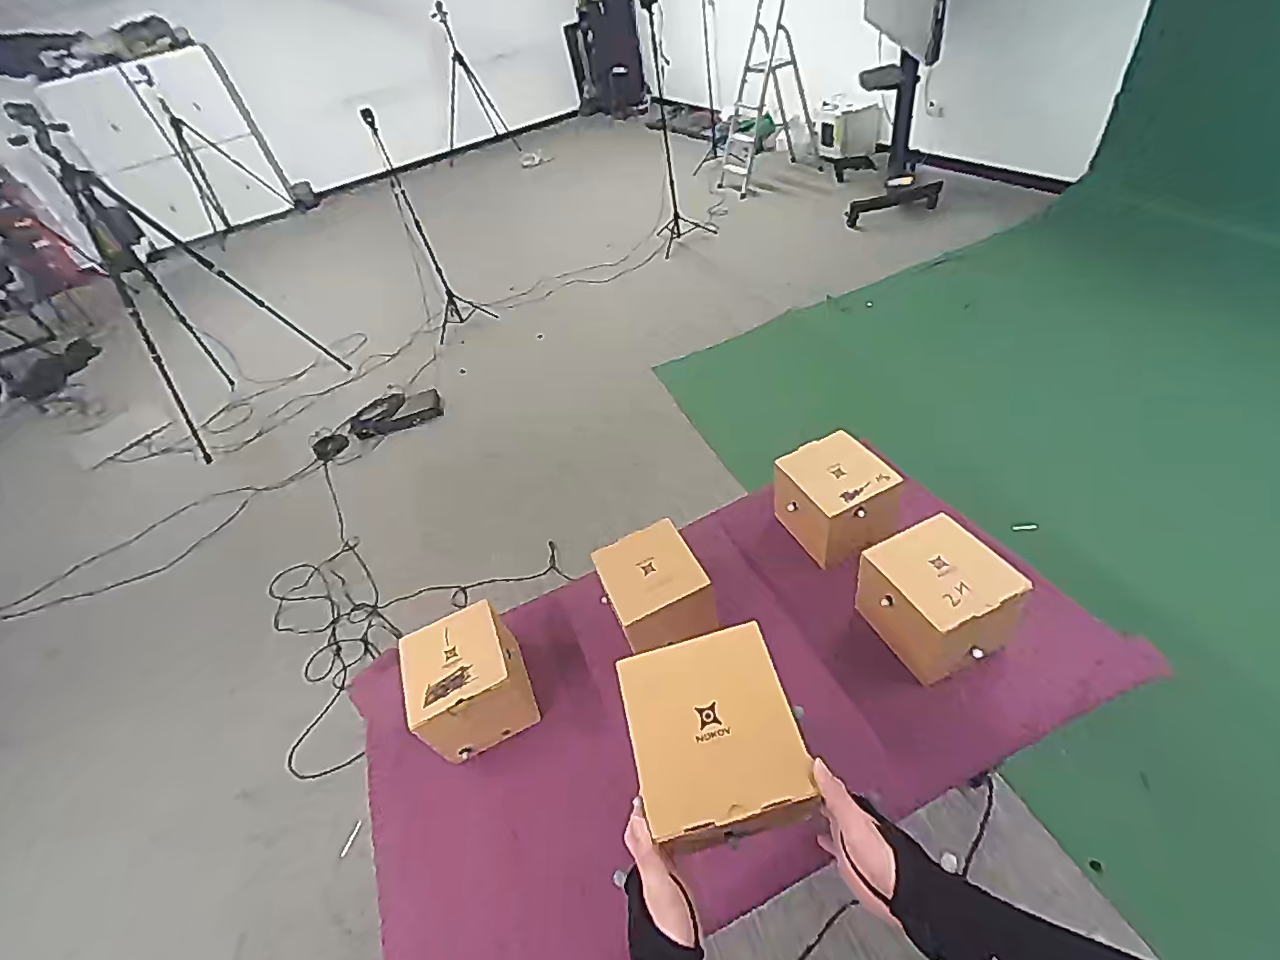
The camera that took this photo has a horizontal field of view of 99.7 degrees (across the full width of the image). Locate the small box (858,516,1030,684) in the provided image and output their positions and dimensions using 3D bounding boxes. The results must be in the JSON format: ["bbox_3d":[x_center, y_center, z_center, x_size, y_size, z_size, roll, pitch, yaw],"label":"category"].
[{"bbox_3d":[0.482,0.197,0.891,0.168,0.176,0.179,-23,43,-7],"label":"small box"}]

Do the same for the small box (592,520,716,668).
[{"bbox_3d":[0.028,0.213,1.008,0.168,0.176,0.179,-24,45,-8],"label":"small box"}]

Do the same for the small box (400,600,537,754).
[{"bbox_3d":[-0.298,0.352,0.950,0.168,0.176,0.179,-24,43,-10],"label":"small box"}]

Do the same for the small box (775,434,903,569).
[{"bbox_3d":[0.386,0.043,1.080,0.168,0.176,0.179,-24,44,-9],"label":"small box"}]
